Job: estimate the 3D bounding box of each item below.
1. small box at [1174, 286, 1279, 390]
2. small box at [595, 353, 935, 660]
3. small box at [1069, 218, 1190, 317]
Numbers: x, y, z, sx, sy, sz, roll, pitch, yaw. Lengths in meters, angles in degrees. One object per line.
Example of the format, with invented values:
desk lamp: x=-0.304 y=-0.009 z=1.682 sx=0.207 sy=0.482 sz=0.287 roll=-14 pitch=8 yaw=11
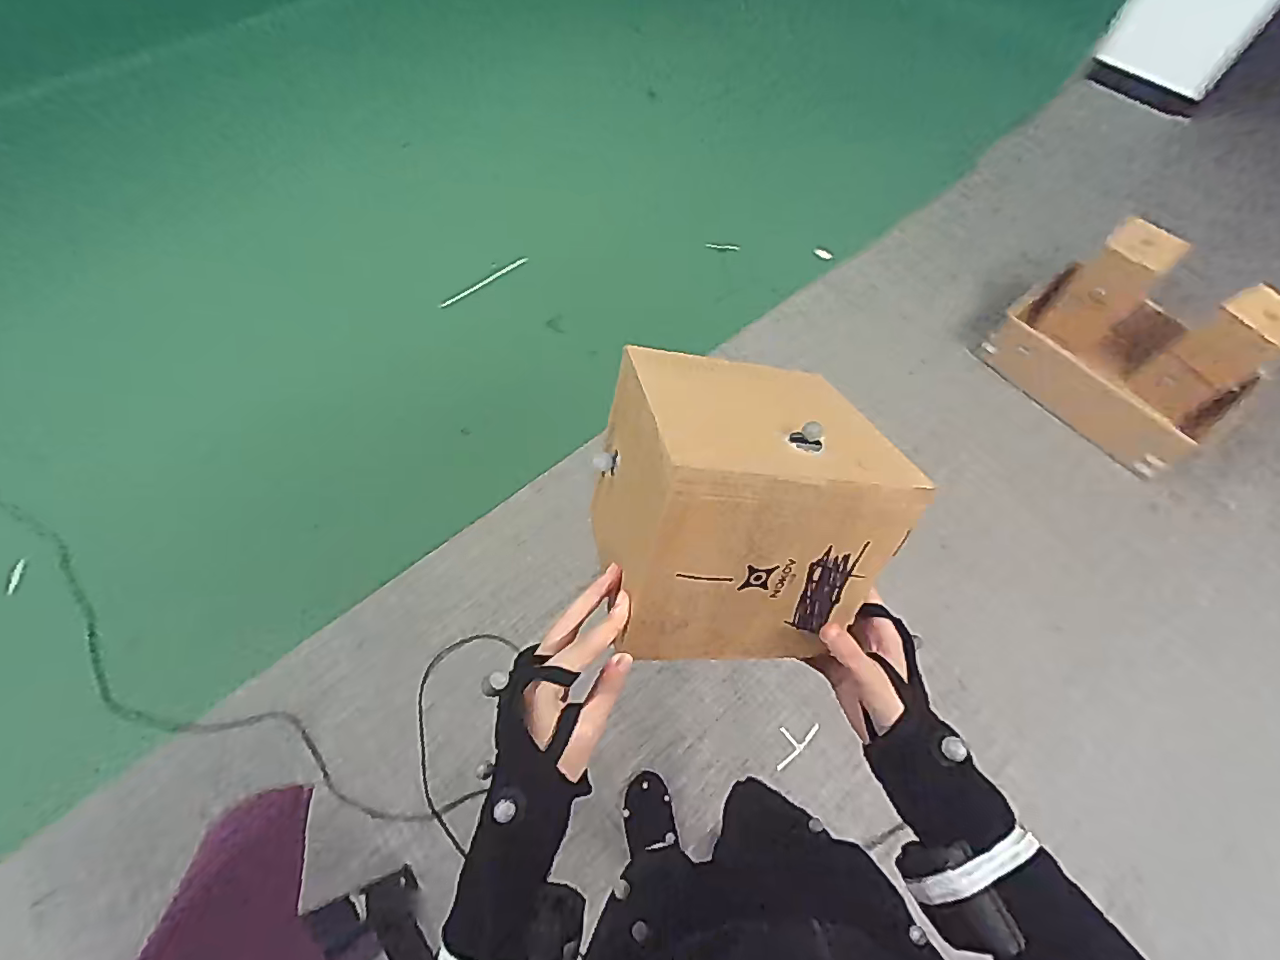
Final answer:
small box: x=1.616 y=-0.376 z=1.448 sx=0.168 sy=0.176 sz=0.179 roll=-26 pitch=66 yaw=-11
small box: x=0.070 y=0.017 z=0.417 sx=0.179 sy=0.168 sz=0.176 roll=6 pitch=34 yaw=-15
small box: x=1.410 y=-0.614 z=1.570 sx=0.179 sy=0.176 sz=0.168 roll=-39 pitch=68 yaw=-16
